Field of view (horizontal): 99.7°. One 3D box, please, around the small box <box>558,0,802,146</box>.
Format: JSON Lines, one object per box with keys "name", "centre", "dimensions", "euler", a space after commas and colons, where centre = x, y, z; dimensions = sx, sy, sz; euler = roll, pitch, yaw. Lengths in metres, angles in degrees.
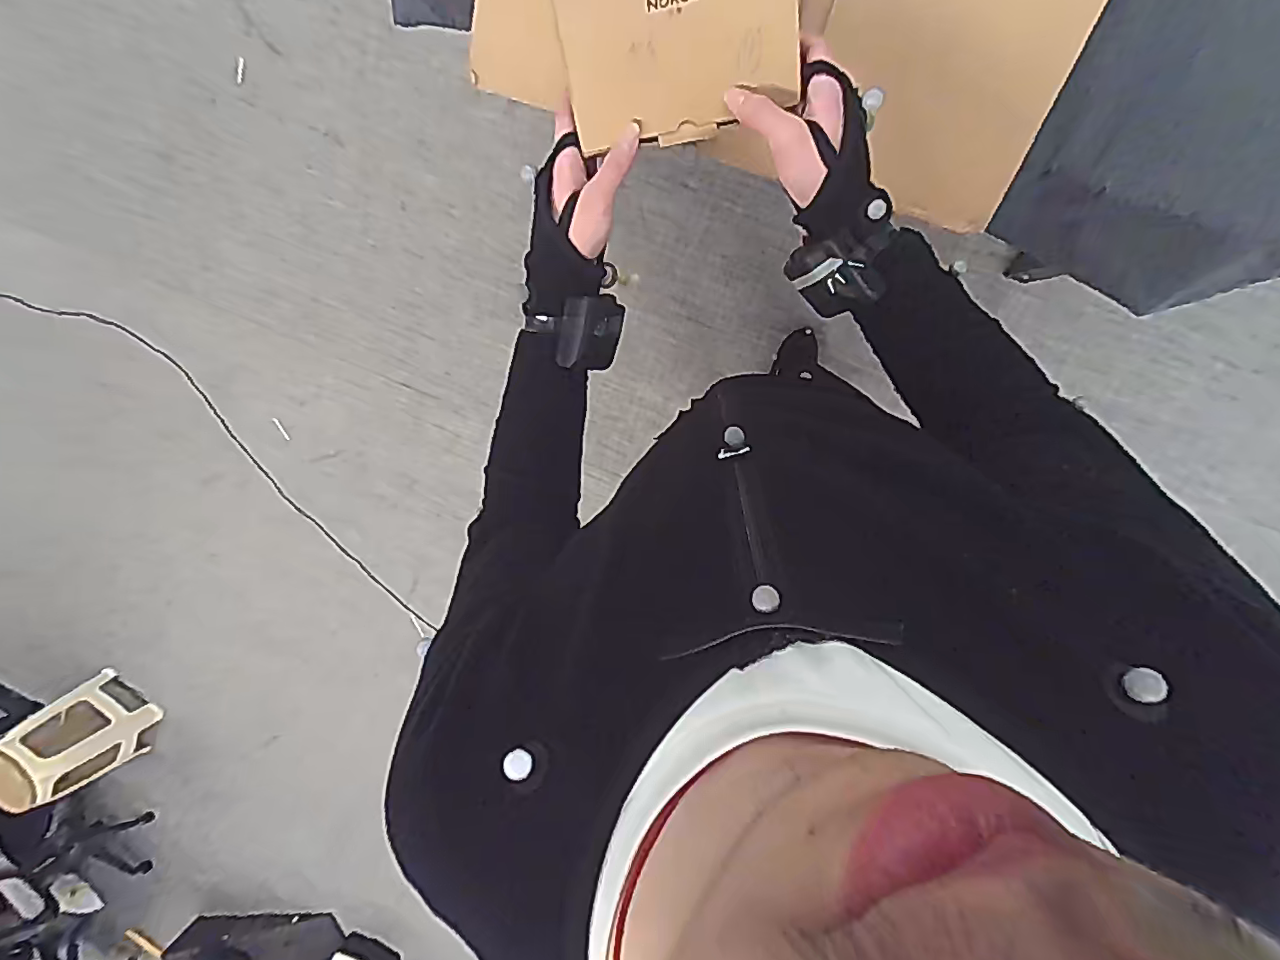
{"name": "small box", "centre": [0.031, -0.385, 0.430], "dimensions": [0.168, 0.176, 0.179], "euler": [-8, 119, 11]}
